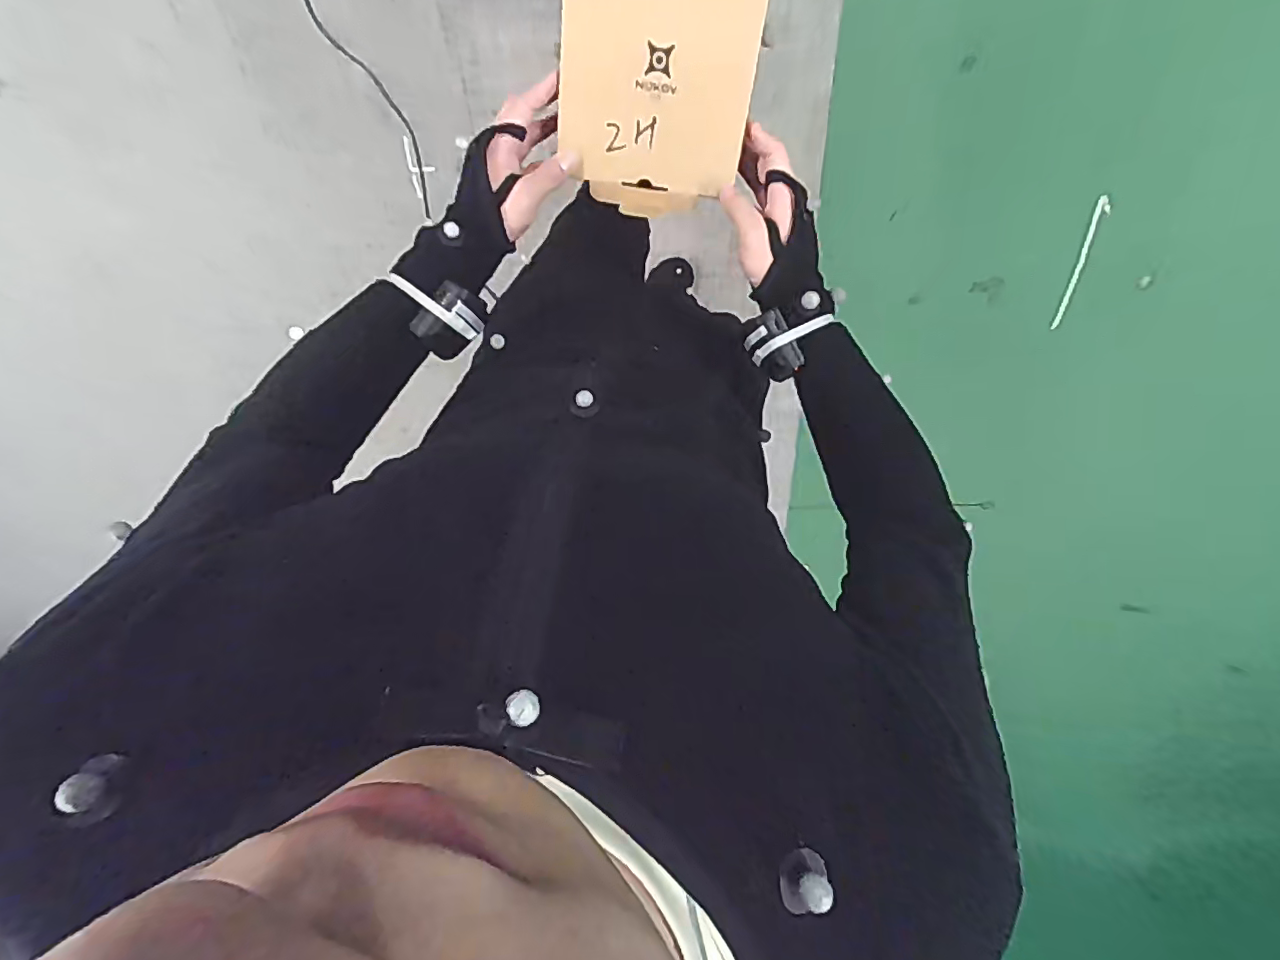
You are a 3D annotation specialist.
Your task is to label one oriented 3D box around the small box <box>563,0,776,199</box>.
[{"bbox_3d":[0.024,-0.388,0.529,0.168,0.176,0.179,8,121,-1],"label":"small box"}]
